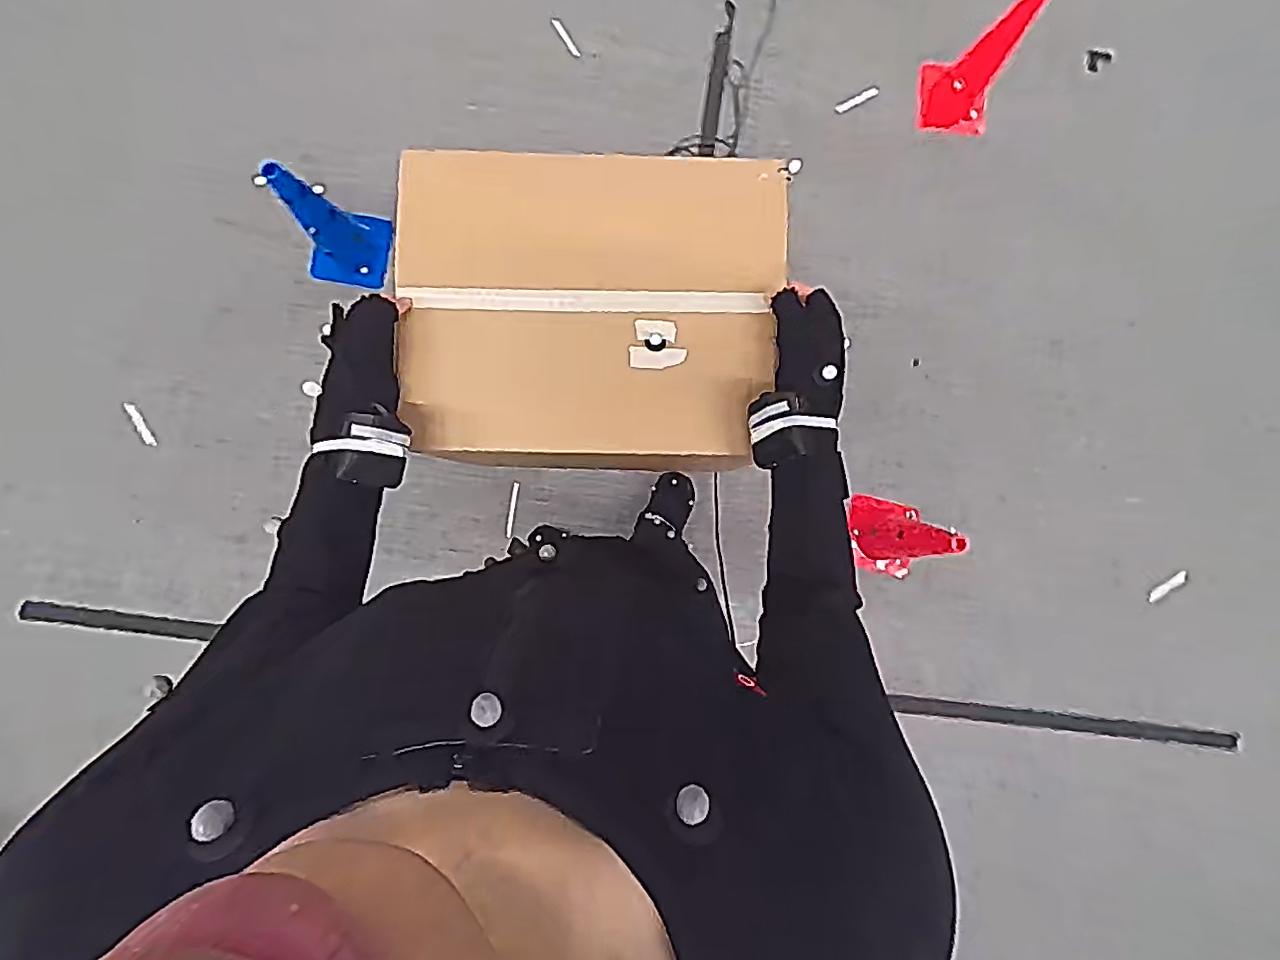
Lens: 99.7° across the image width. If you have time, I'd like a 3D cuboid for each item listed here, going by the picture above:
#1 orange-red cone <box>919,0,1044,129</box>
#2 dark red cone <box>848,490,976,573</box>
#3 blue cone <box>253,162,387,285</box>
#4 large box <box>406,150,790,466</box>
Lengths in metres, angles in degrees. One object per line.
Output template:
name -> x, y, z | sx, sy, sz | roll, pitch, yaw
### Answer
orange-red cone -> 0.922, -1.139, 1.405 | 0.198, 0.360, 0.199 | 5, 86, -3
dark red cone -> 0.681, 0.136, 1.316 | 0.201, 0.394, 0.202 | 14, 87, -1
blue cone -> -0.796, -0.645, 1.327 | 0.192, 0.380, 0.193 | 11, 87, -1
large box -> -0.046, -0.185, 0.713 | 0.408, 0.320, 0.320 | 2, 88, -1
